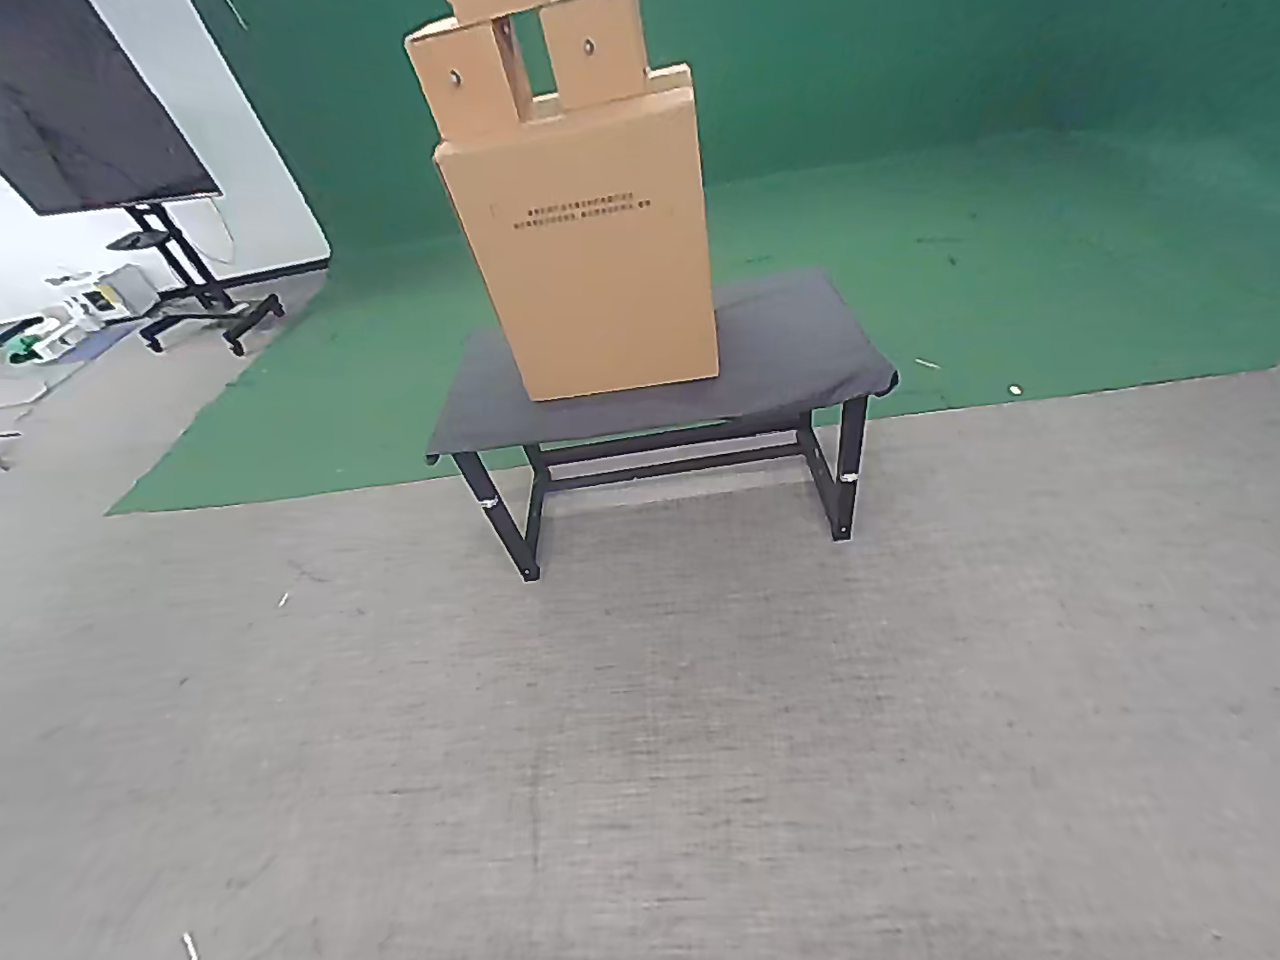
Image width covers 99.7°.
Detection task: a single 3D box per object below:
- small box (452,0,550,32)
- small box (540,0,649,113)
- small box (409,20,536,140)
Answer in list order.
[{"bbox_3d":[-0.267,-0.950,0.984,0.179,0.176,0.168,-14,46,3],"label":"small box"},{"bbox_3d":[-0.081,-0.874,1.089,0.179,0.176,0.168,-6,49,10],"label":"small box"},{"bbox_3d":[-0.334,-0.827,1.114,0.179,0.176,0.168,-5,49,9],"label":"small box"}]
